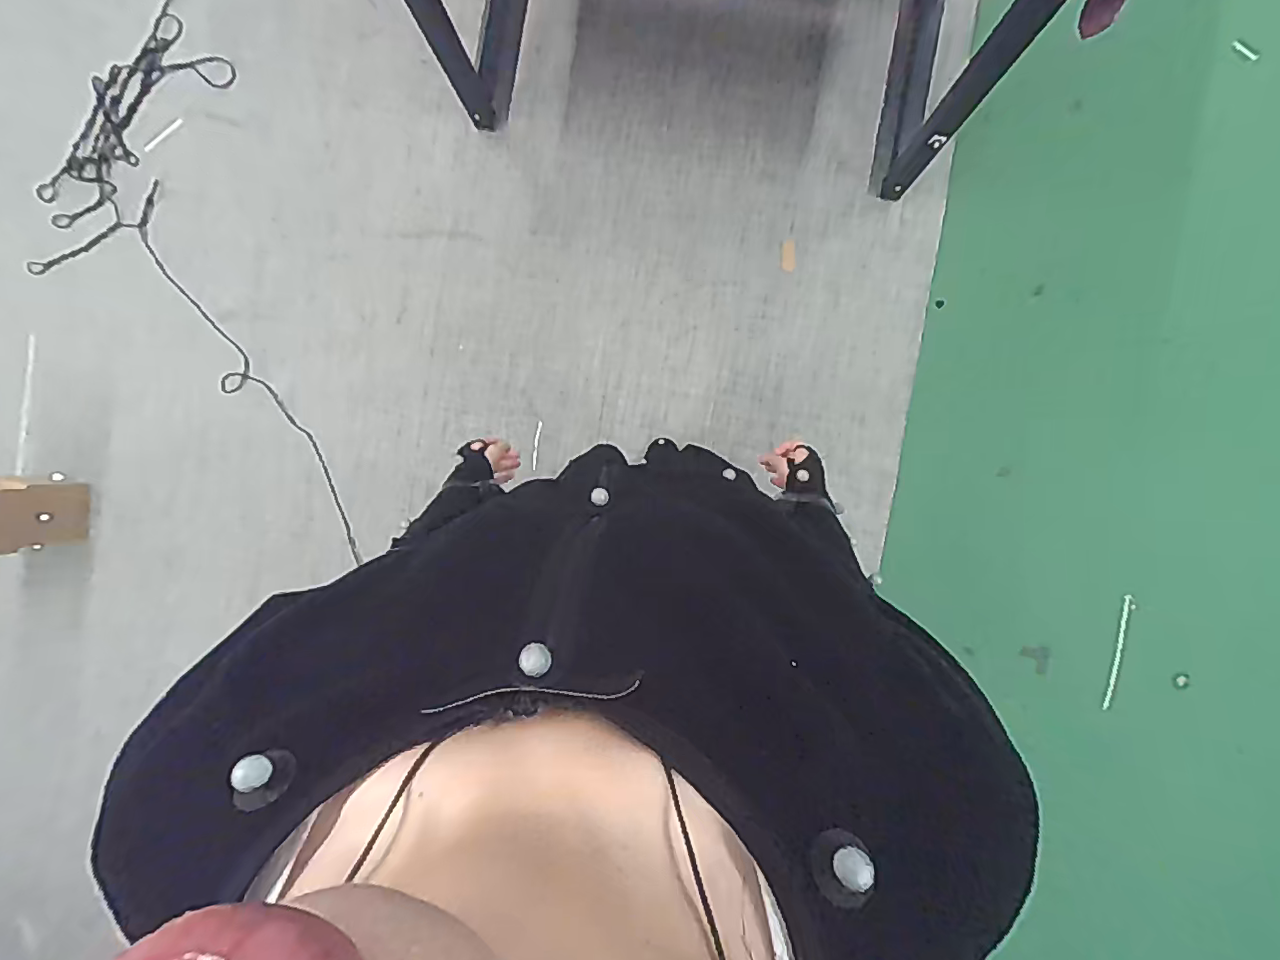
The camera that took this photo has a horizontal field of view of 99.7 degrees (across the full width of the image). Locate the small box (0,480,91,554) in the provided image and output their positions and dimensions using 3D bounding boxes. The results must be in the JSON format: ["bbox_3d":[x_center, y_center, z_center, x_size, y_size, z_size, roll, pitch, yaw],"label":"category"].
[{"bbox_3d":[-1.705,0.097,1.514,0.168,0.176,0.179,8,91,2],"label":"small box"}]

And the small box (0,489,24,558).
[{"bbox_3d":[-1.715,0.110,1.350,0.168,0.176,0.179,8,91,2],"label":"small box"}]
